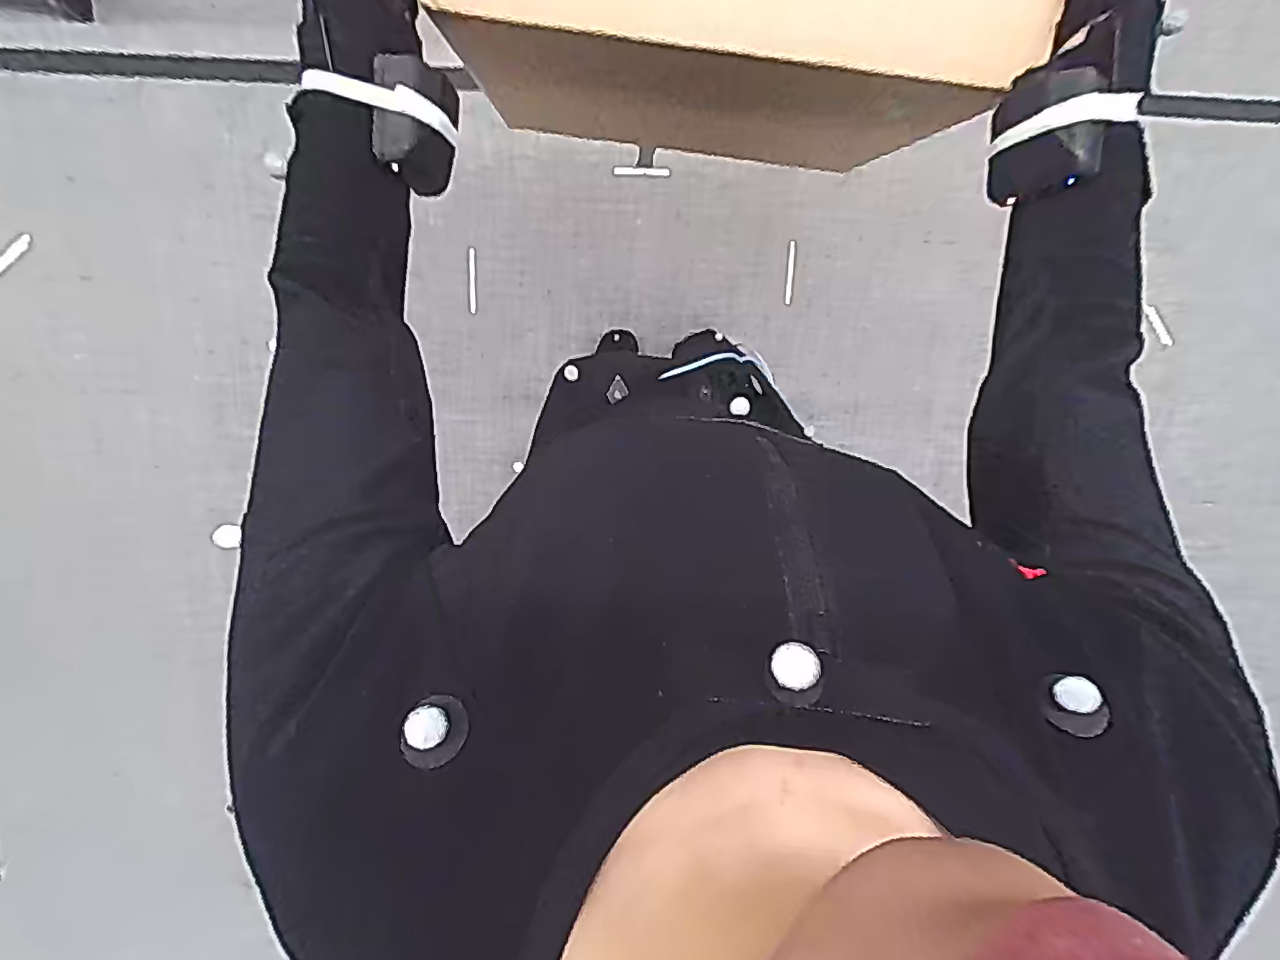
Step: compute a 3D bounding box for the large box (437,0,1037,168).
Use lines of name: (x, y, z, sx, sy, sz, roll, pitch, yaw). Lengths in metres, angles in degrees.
large box: (0.069, -0.479, 0.449, 0.408, 0.320, 0.320, 4, 112, -5)
